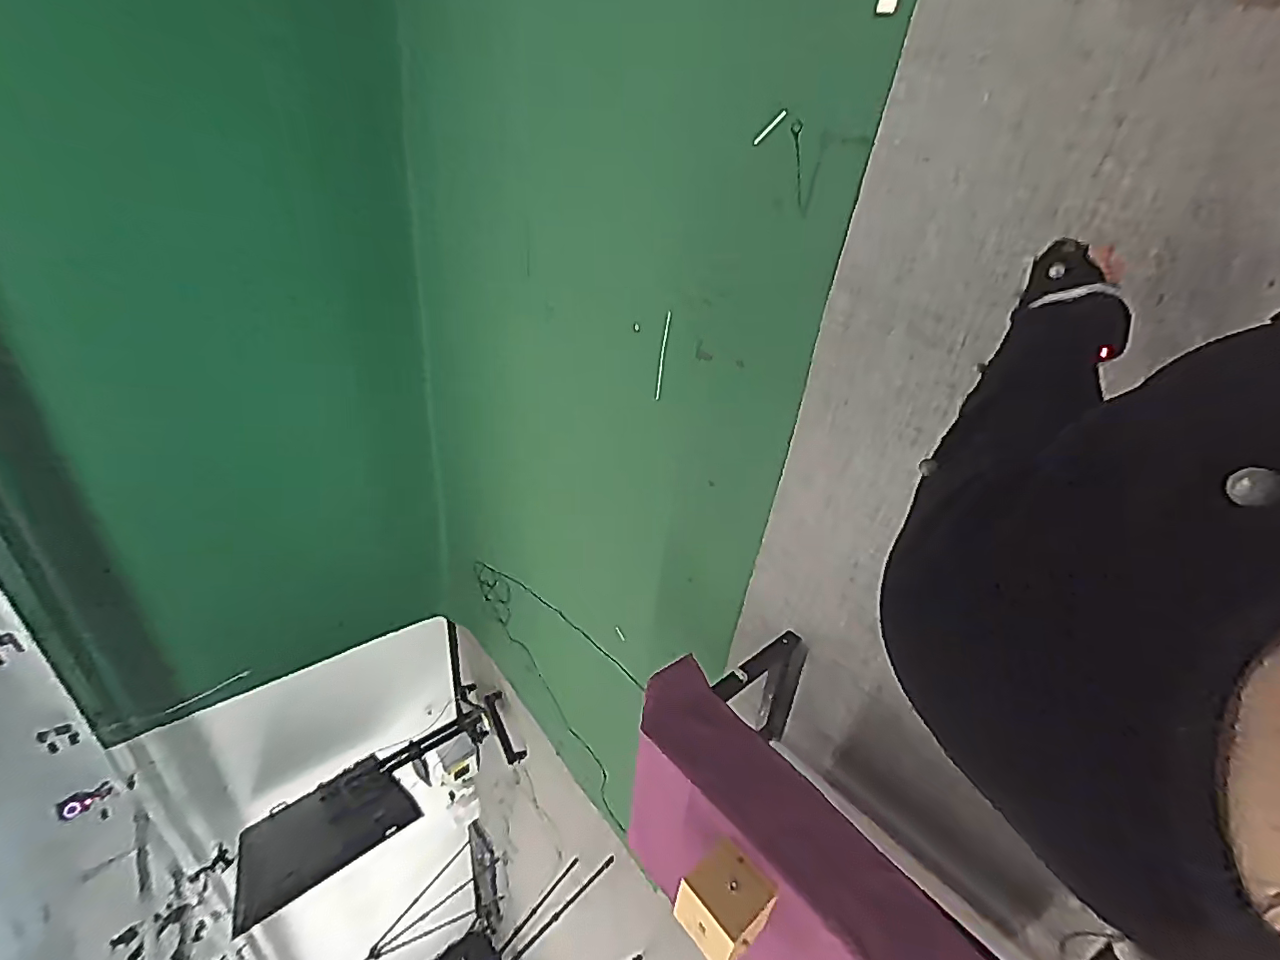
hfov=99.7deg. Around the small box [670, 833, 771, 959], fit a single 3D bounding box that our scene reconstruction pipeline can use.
[{"bbox_3d":[0.199,1.025,1.331,0.168,0.176,0.179,34,129,39],"label":"small box"}]
